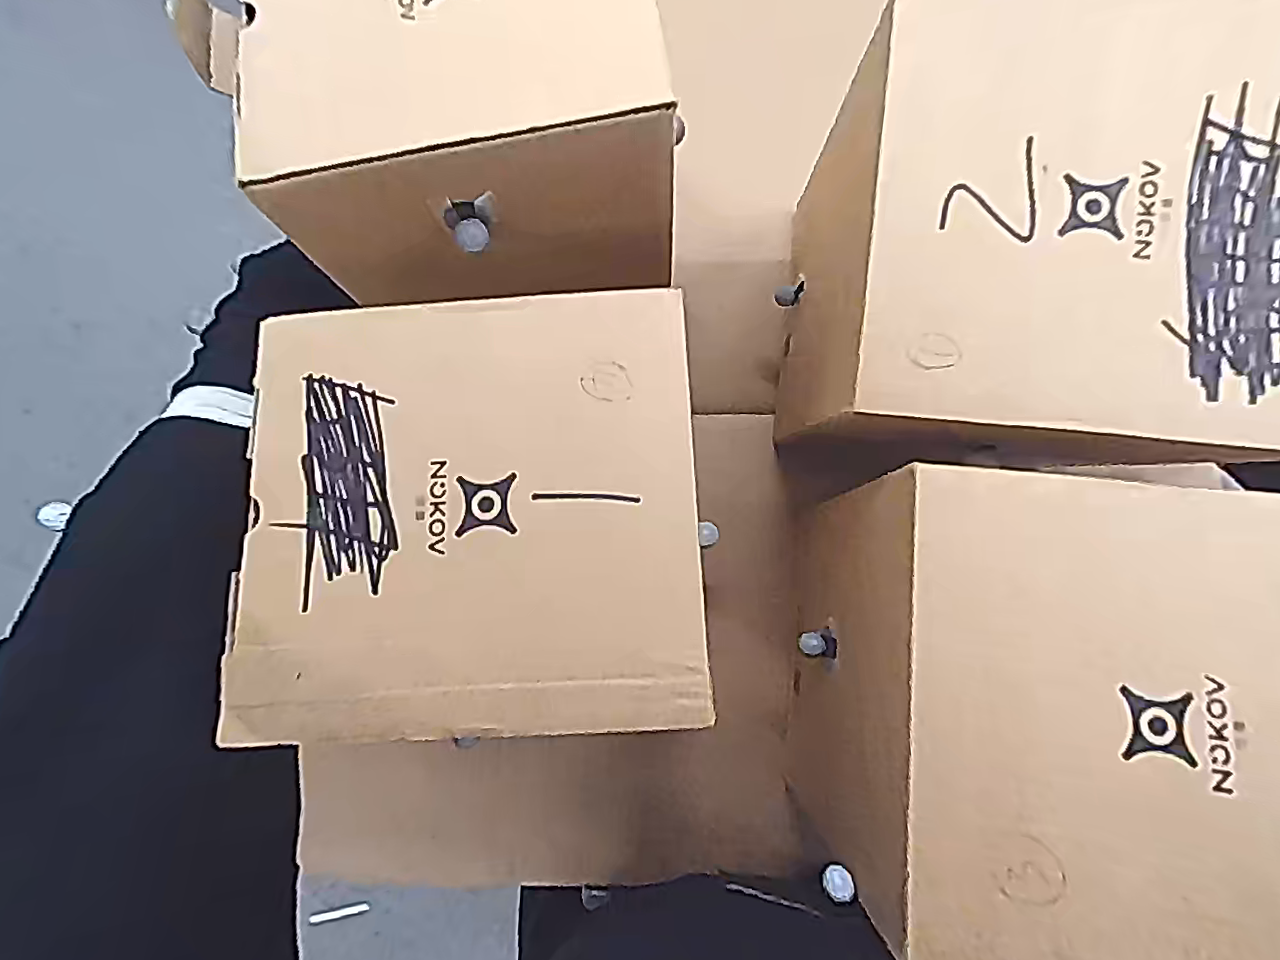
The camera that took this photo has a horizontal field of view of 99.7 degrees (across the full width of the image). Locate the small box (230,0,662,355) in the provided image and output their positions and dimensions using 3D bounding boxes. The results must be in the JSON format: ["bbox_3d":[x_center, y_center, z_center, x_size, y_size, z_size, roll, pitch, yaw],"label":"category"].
[{"bbox_3d":[-0.086,-0.192,0.310,0.179,0.176,0.168,-11,78,2],"label":"small box"}]
